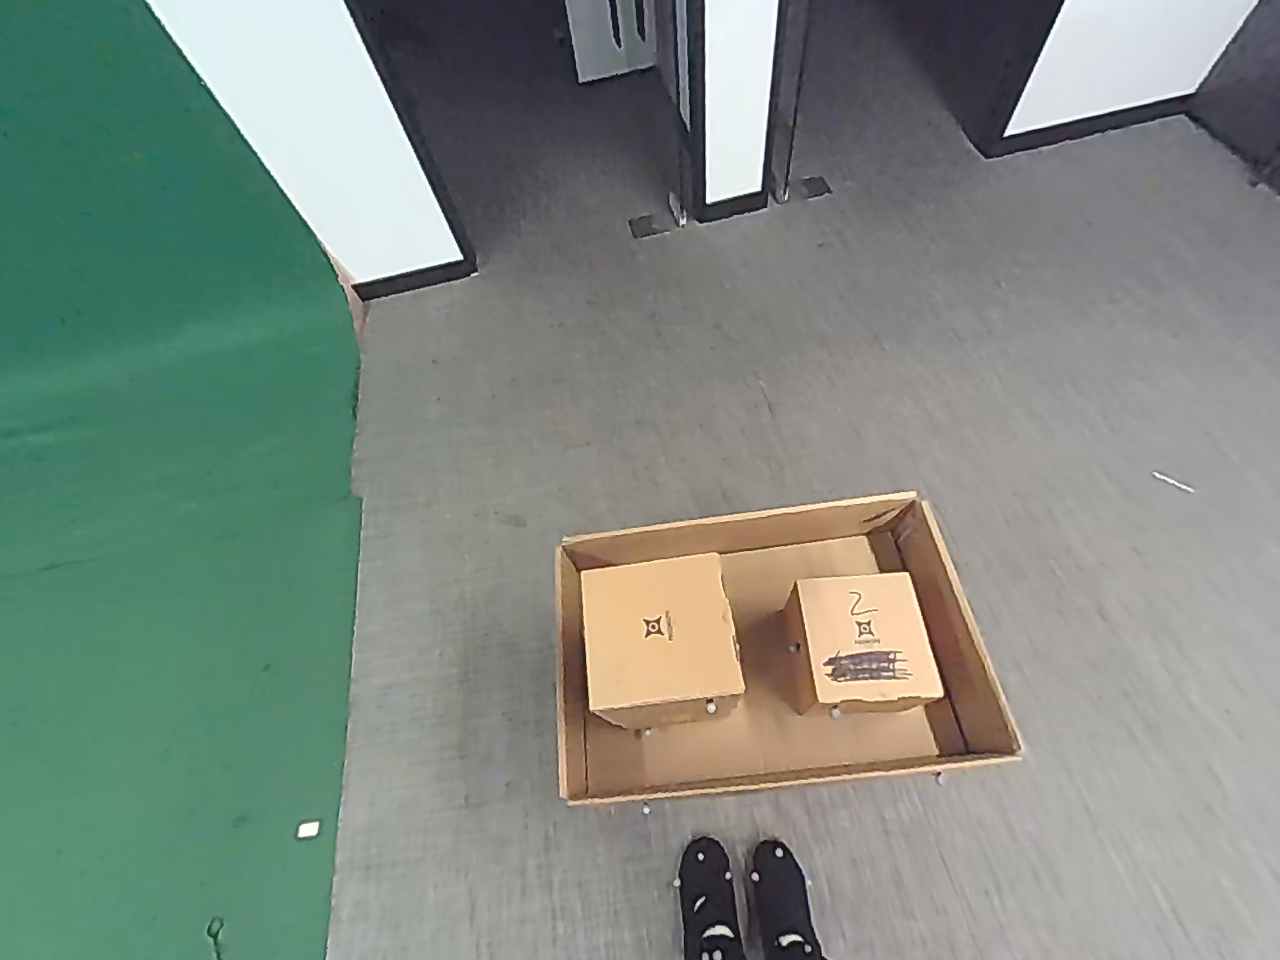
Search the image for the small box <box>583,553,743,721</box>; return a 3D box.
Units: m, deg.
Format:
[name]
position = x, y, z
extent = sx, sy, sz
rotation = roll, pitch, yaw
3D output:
[small box]
position = 0.029, 0.211, 0.705
extent = 0.179, 0.176, 0.168
rotation = -8, 61, 1
